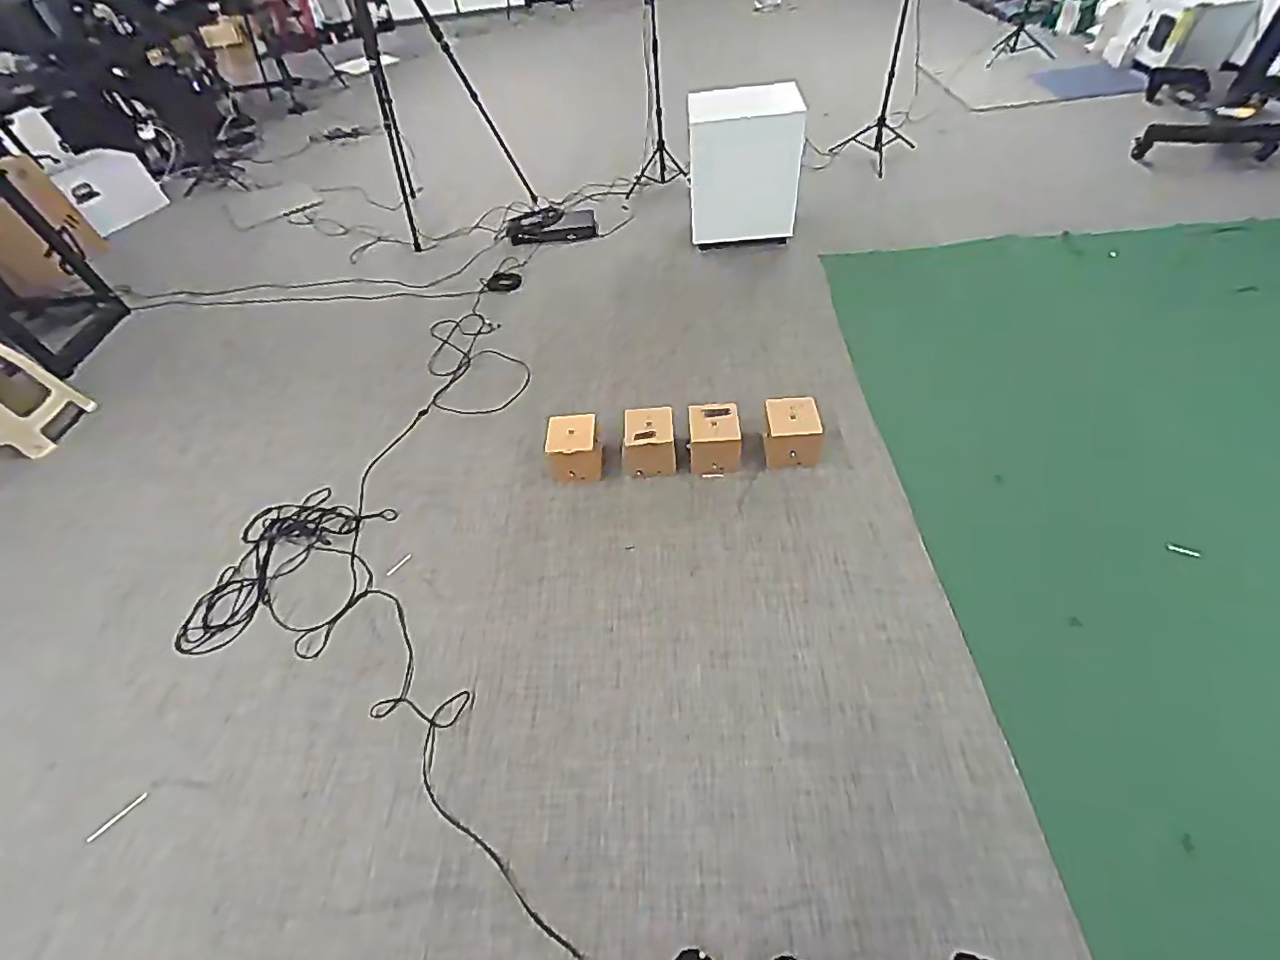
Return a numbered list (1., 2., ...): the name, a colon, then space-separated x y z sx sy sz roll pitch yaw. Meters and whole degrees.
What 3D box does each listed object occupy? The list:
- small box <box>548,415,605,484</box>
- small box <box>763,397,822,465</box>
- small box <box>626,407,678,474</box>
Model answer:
1. small box: -0.221 -0.108 1.933 0.168 0.176 0.179 -4 50 5
2. small box: 0.522 -0.162 1.874 0.168 0.176 0.179 -3 51 5
3. small box: 0.044 -0.133 1.913 0.168 0.176 0.179 -5 49 5
